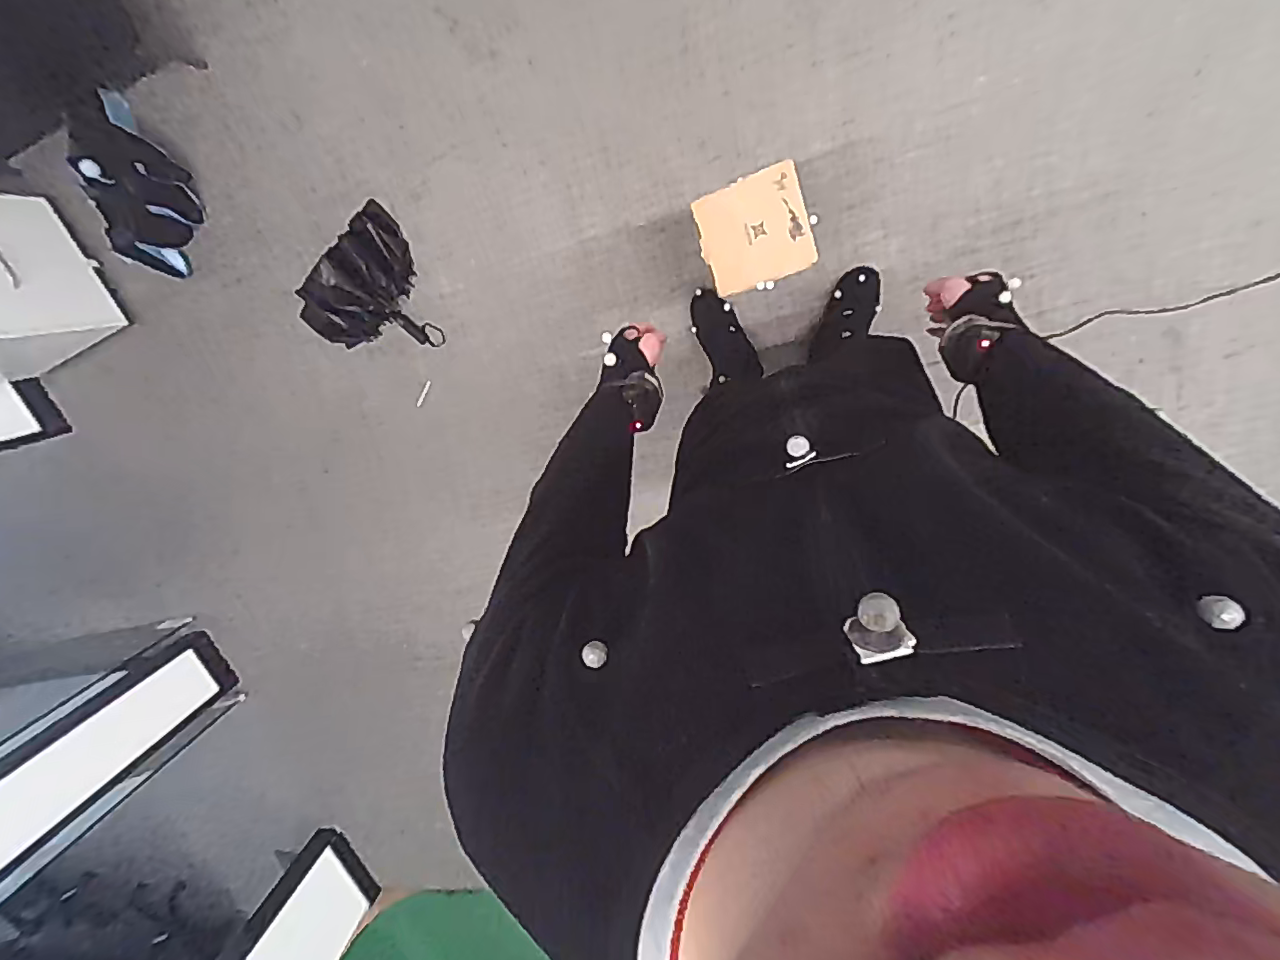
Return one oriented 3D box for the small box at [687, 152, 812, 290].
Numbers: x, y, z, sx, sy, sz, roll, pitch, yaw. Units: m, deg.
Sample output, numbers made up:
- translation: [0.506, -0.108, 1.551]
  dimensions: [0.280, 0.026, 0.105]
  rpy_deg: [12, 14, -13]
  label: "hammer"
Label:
- translation: [0.204, -0.458, 0.978]
  dimensions: [0.179, 0.176, 0.168]
  rpy_deg: [-15, 109, 20]
  label: "small box"
